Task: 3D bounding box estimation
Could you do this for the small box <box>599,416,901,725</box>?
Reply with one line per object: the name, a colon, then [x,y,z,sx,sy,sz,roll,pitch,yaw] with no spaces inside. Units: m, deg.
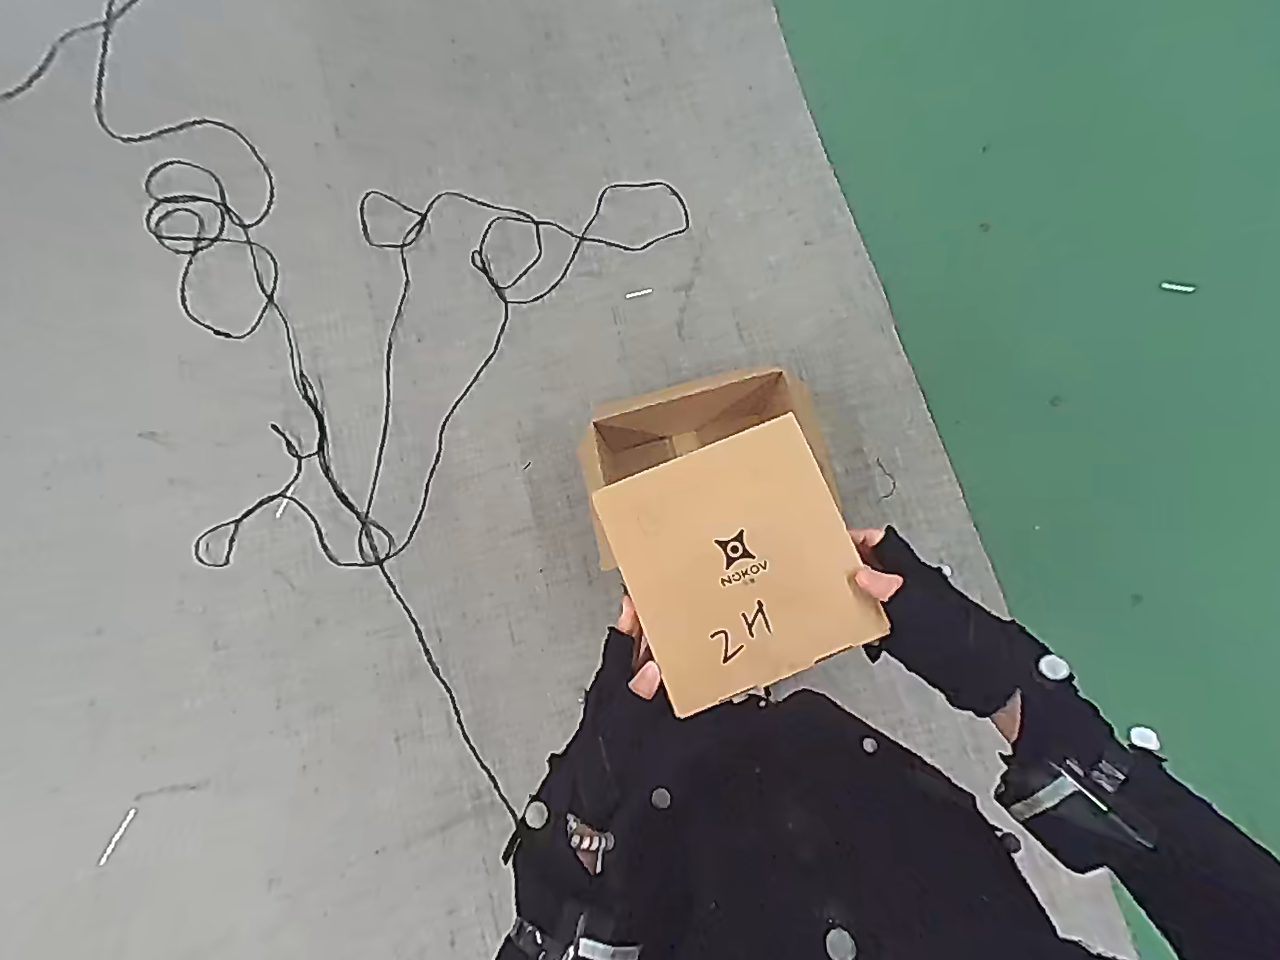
small box: [0.076,0.071,0.458,0.168,0.176,0.179,-22,83,-1]
